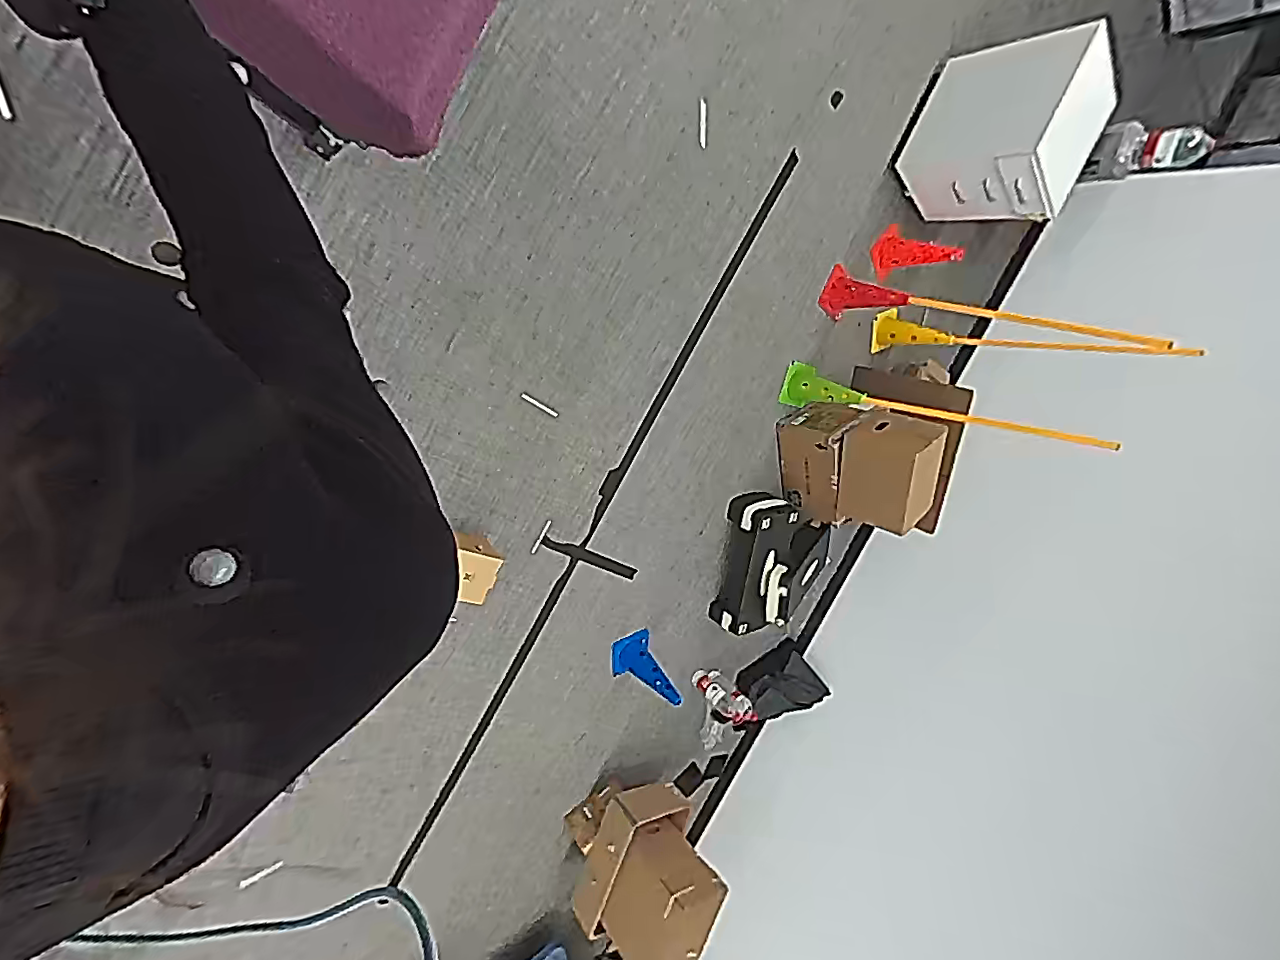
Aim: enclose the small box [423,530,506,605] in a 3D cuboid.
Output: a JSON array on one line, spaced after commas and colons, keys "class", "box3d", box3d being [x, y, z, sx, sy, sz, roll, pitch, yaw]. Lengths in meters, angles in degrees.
[{"class": "small box", "box3d": [-0.567, 0.276, 1.734, 0.179, 0.176, 0.168, 24, 94, -42]}]
